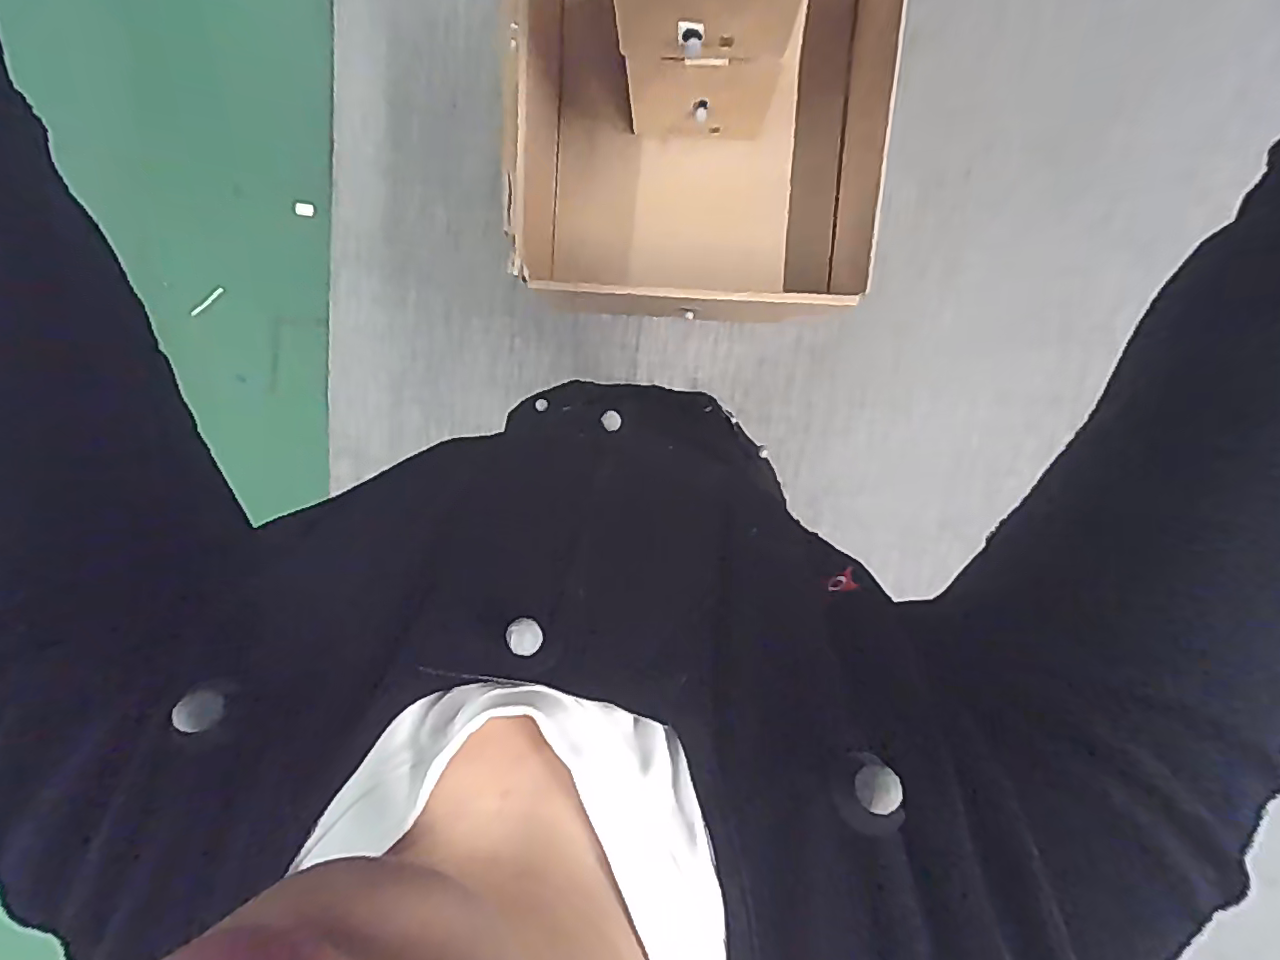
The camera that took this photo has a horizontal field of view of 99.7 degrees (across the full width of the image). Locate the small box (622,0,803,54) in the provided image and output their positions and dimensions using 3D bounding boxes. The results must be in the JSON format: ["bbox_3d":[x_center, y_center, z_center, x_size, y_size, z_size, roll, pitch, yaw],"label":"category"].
[{"bbox_3d":[0.064,-0.501,0.447,0.168,0.176,0.179,2,100,4],"label":"small box"}]
